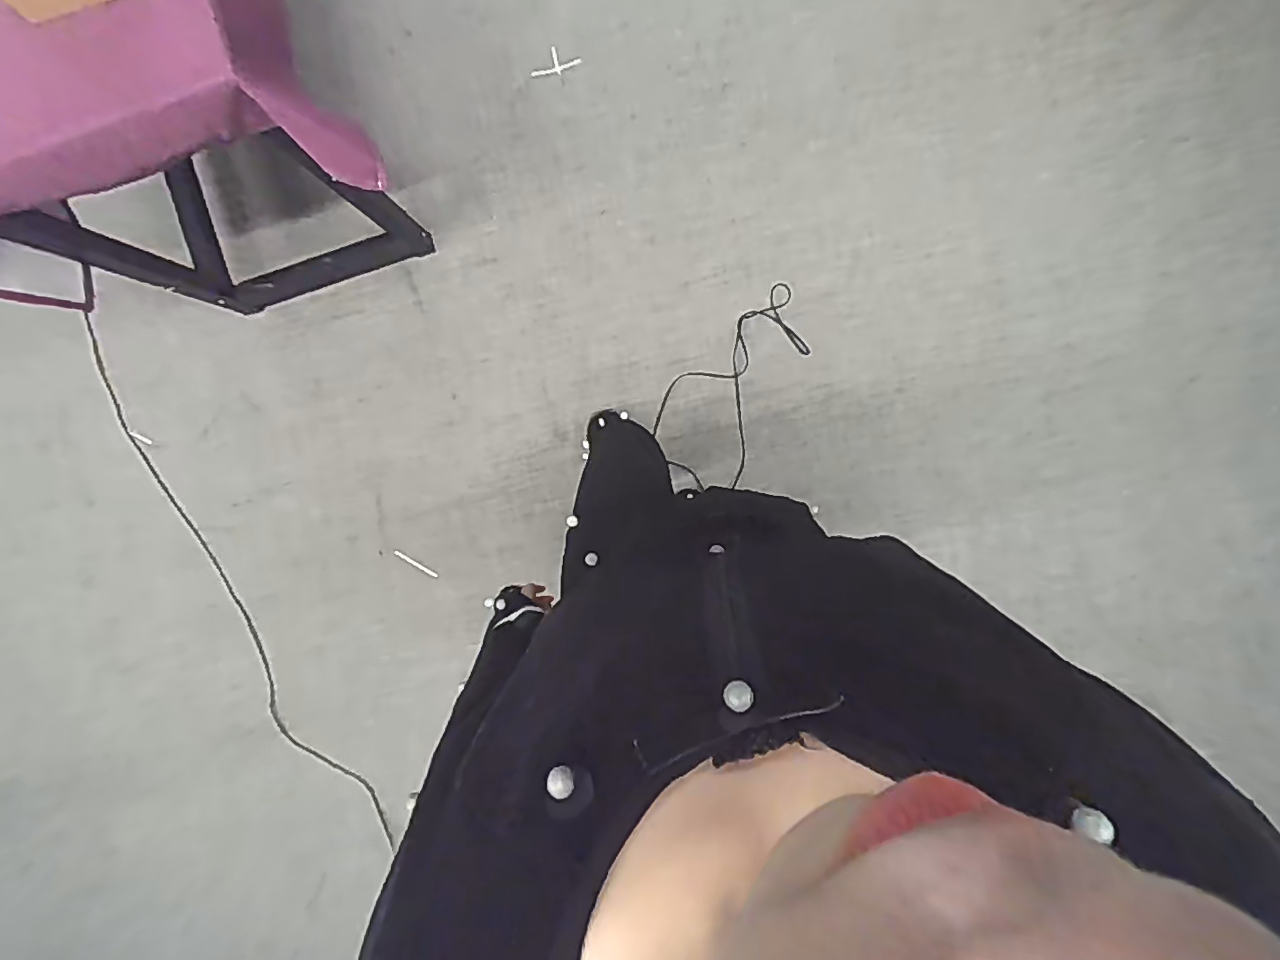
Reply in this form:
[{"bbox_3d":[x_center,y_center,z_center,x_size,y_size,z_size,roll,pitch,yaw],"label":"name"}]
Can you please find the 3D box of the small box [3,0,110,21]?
[{"bbox_3d":[-0.793,-0.736,0.675,0.179,0.176,0.168,-13,92,4],"label":"small box"}]
